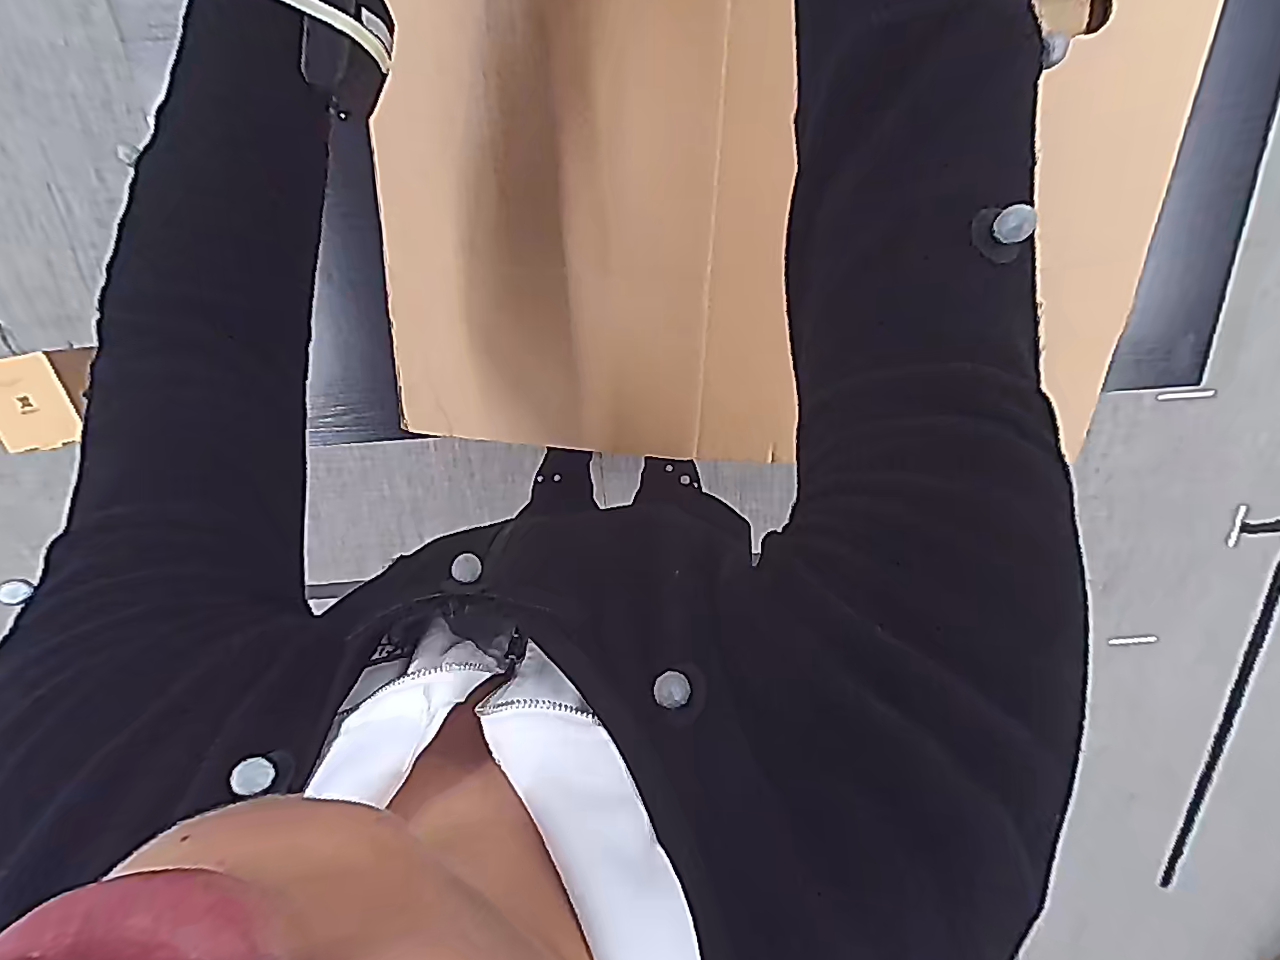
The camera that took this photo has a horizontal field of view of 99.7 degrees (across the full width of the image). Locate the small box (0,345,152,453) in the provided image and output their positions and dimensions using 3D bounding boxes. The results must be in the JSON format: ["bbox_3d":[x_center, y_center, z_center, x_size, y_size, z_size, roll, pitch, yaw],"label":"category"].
[{"bbox_3d":[-1.175,-0.172,1.113,0.168,0.176,0.179,-11,108,0],"label":"small box"}]
